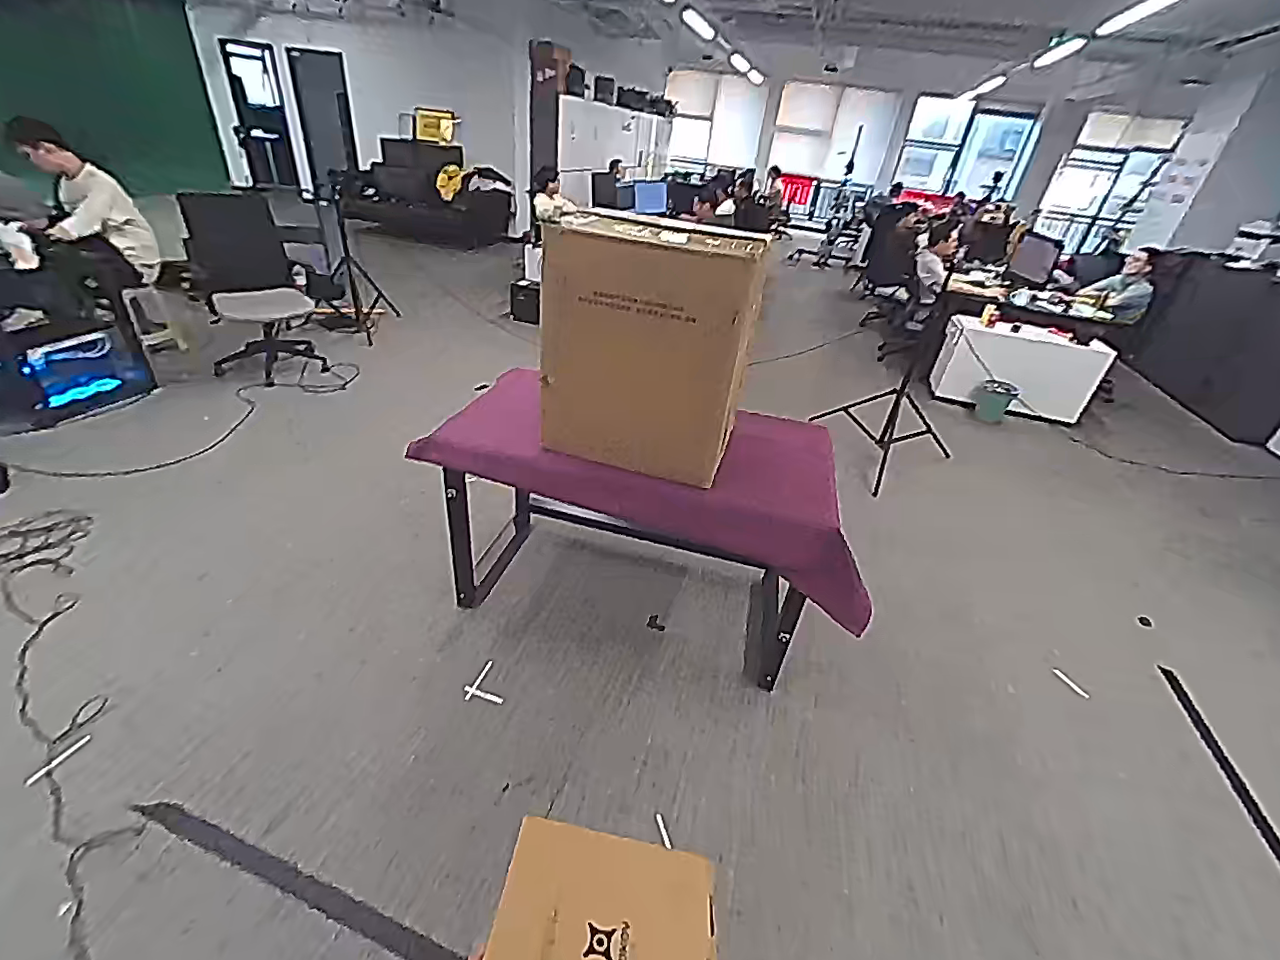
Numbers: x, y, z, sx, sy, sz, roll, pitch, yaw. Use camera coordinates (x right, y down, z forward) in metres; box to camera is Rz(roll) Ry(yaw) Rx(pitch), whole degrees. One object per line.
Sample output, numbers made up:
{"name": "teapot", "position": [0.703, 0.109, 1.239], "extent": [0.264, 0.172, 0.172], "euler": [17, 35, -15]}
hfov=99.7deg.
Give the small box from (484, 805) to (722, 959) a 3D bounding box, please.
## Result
{"name": "small box", "position": [-0.039, 0.412, 0.439], "extent": [0.179, 0.176, 0.168], "euler": [12, 23, -1]}
